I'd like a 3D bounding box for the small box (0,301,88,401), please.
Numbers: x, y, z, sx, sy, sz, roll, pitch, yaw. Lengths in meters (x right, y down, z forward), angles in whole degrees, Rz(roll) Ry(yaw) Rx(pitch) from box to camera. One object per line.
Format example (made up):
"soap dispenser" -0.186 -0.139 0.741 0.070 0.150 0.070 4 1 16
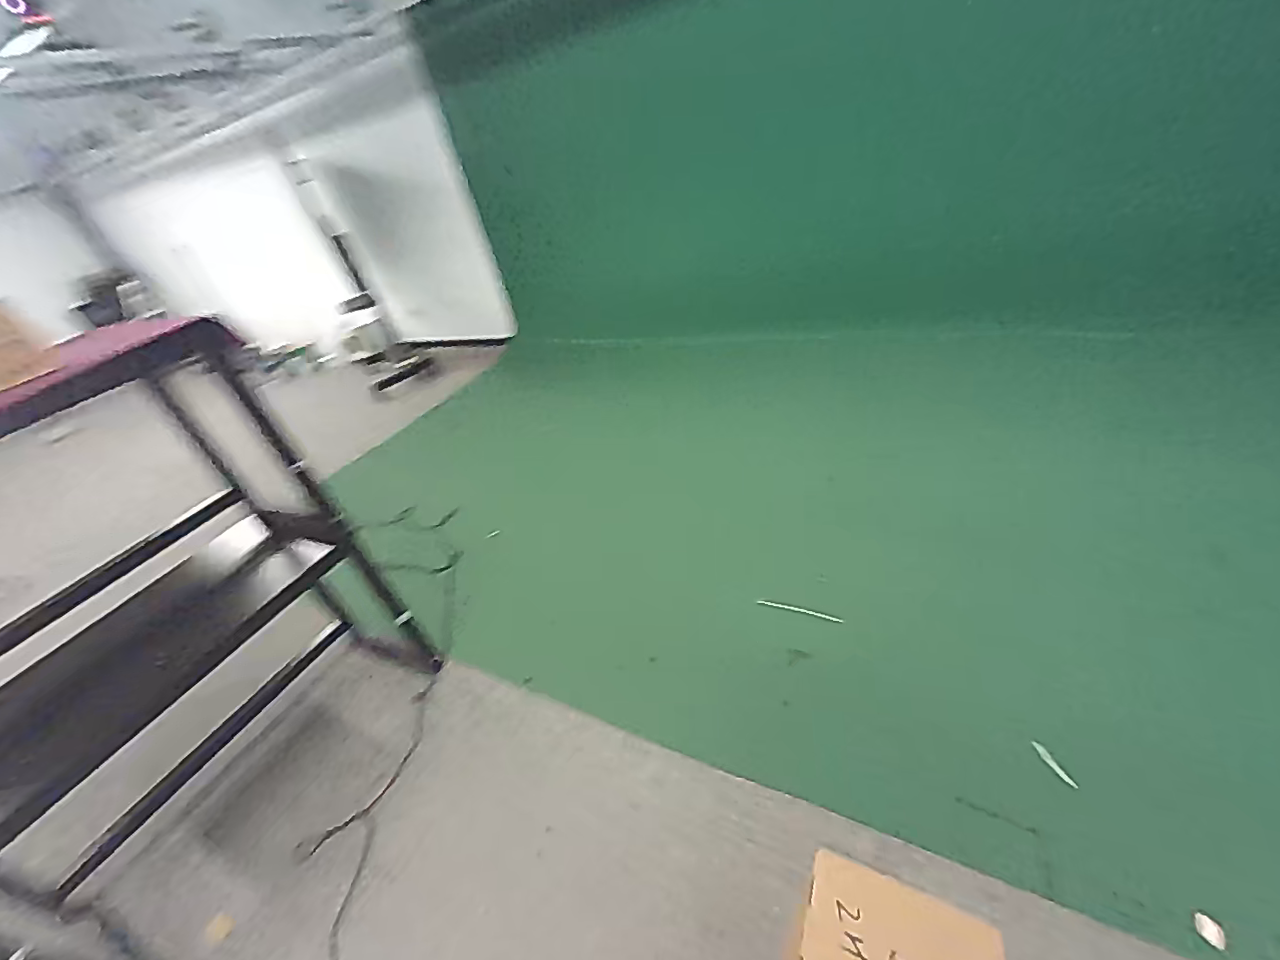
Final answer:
"small box" -1.414 -0.289 1.220 0.179 0.176 0.168 8 40 35
